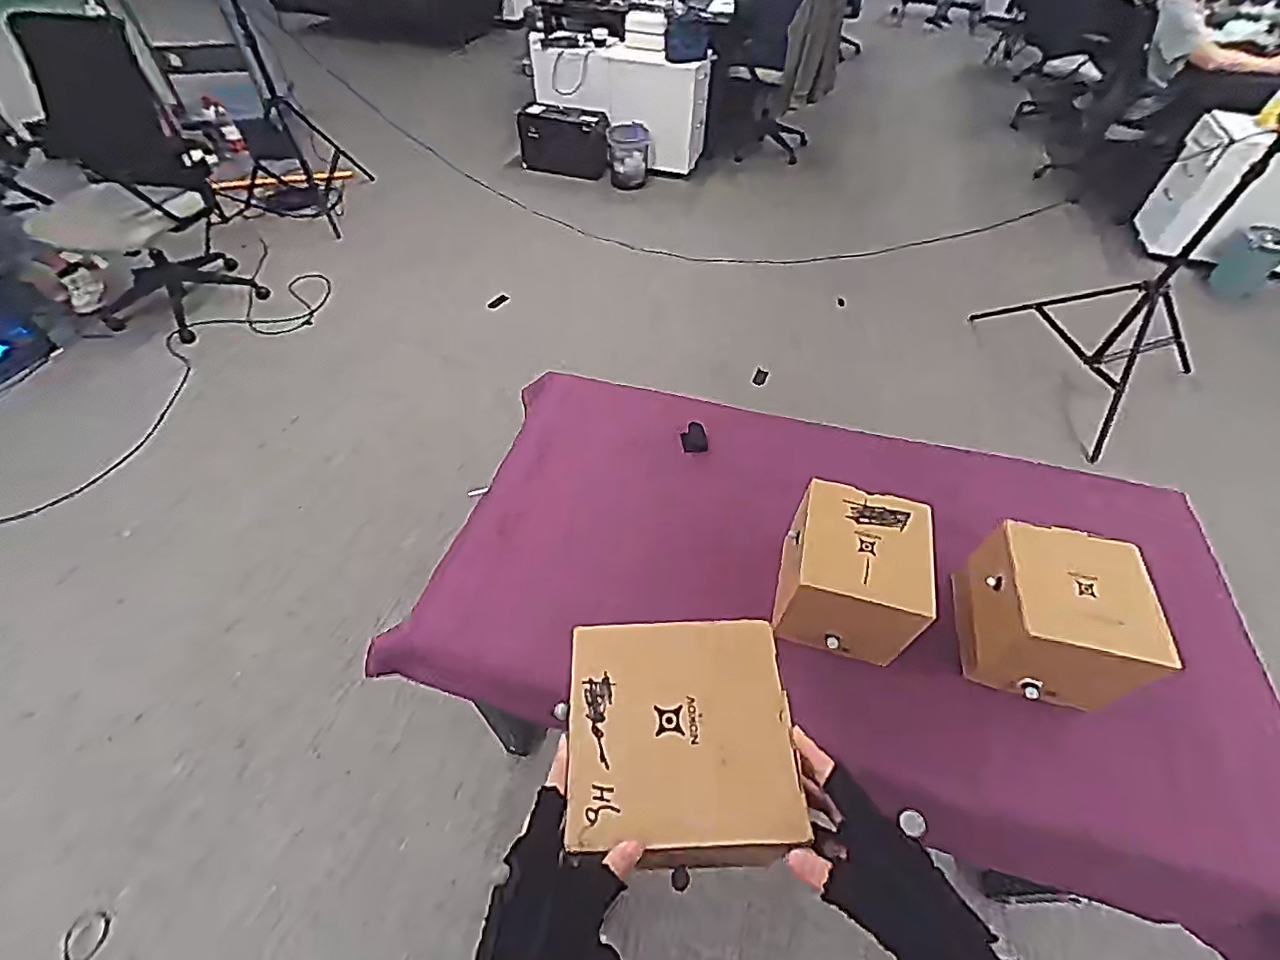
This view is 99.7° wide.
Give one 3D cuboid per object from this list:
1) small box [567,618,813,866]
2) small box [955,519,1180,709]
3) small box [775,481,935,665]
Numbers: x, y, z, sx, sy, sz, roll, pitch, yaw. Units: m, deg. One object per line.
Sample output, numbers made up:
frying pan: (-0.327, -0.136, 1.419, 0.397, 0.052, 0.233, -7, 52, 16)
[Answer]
small box: (0.032, 0.237, 0.487, 0.179, 0.176, 0.168, -1, 49, -2)
small box: (0.557, 0.184, 0.740, 0.168, 0.176, 0.179, 11, 52, 9)
small box: (0.297, 0.134, 0.773, 0.168, 0.176, 0.179, 13, 52, 10)
